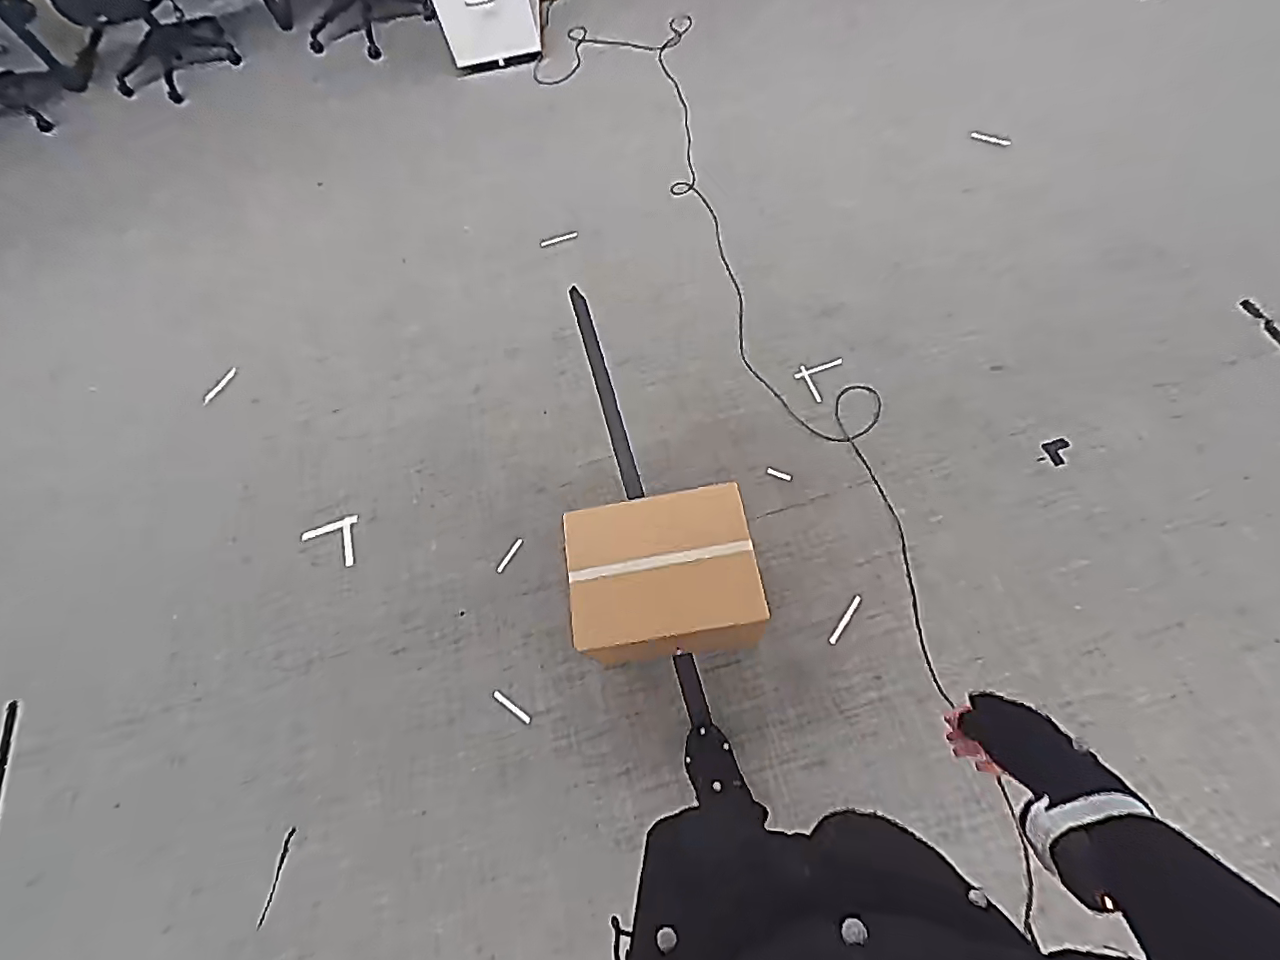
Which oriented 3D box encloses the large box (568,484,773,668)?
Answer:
[{"bbox_3d":[0.069,0.244,1.294,0.408,0.320,0.320,-11,65,3],"label":"large box"}]
